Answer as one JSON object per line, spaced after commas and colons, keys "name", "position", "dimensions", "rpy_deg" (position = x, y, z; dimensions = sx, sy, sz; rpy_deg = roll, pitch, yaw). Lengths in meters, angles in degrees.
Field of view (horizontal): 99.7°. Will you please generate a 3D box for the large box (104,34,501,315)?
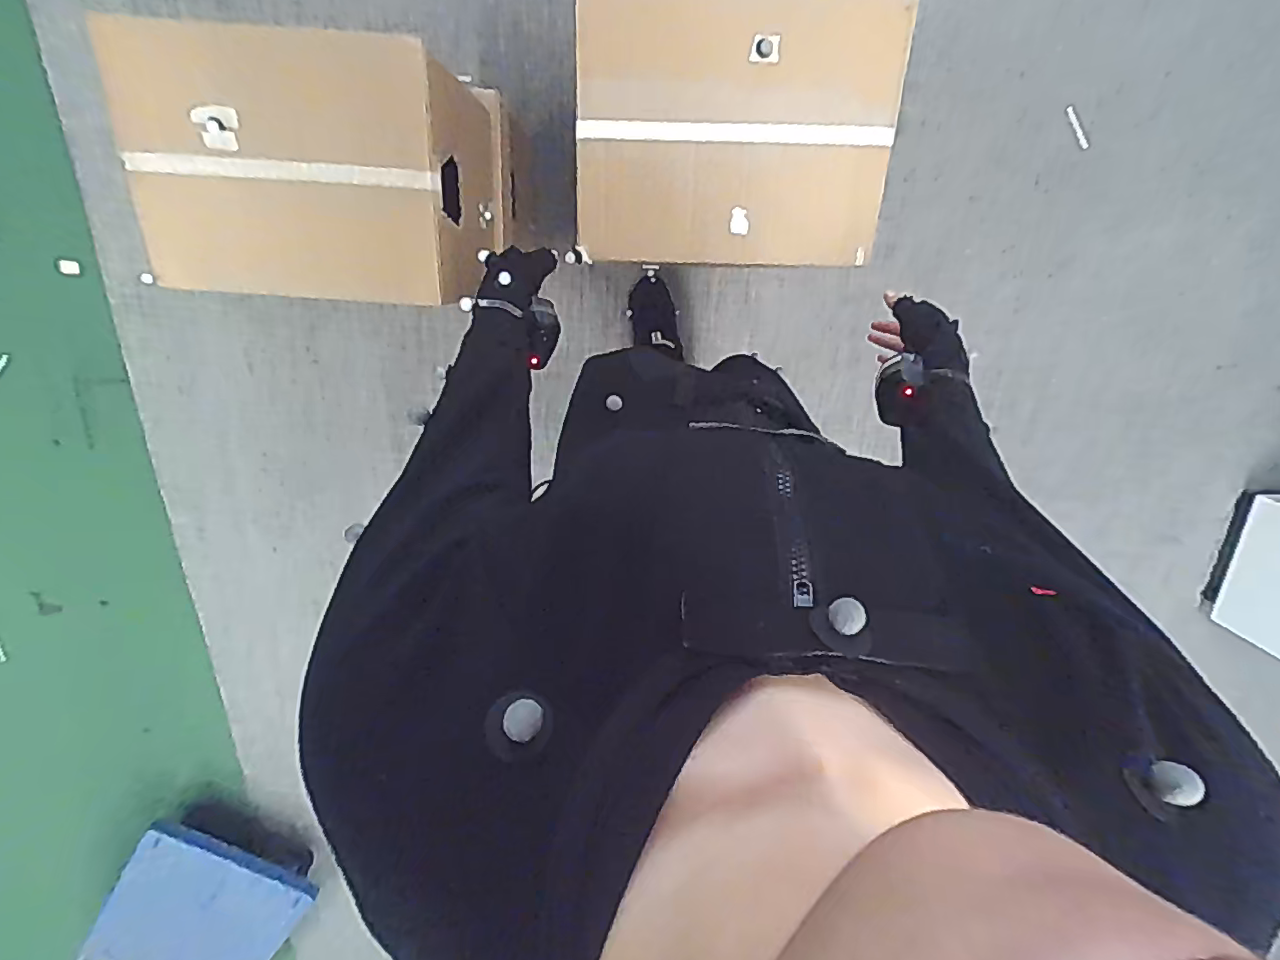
{"name": "large box", "position": [-0.461, -0.446, 0.850], "dimensions": [0.408, 0.320, 0.320], "rpy_deg": [5, 111, 0]}
